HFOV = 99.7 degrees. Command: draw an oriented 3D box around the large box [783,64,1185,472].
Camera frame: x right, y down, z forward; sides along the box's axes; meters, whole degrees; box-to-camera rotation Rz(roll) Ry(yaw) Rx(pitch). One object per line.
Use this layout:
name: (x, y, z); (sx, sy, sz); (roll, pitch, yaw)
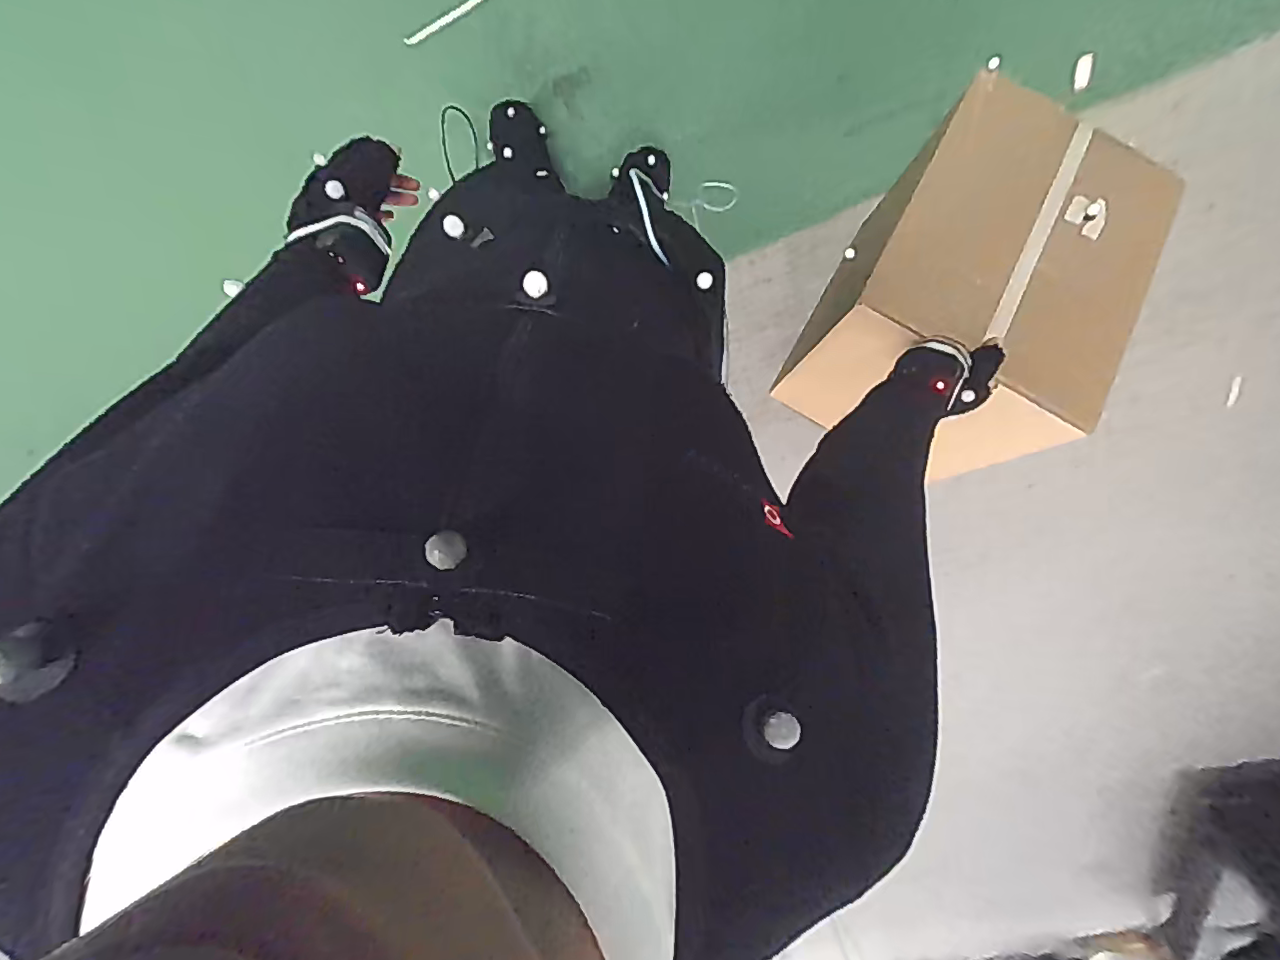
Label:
large box: (0.474, -0.277, 0.811); (0.320, 0.408, 0.320); (30, 167, 0)
